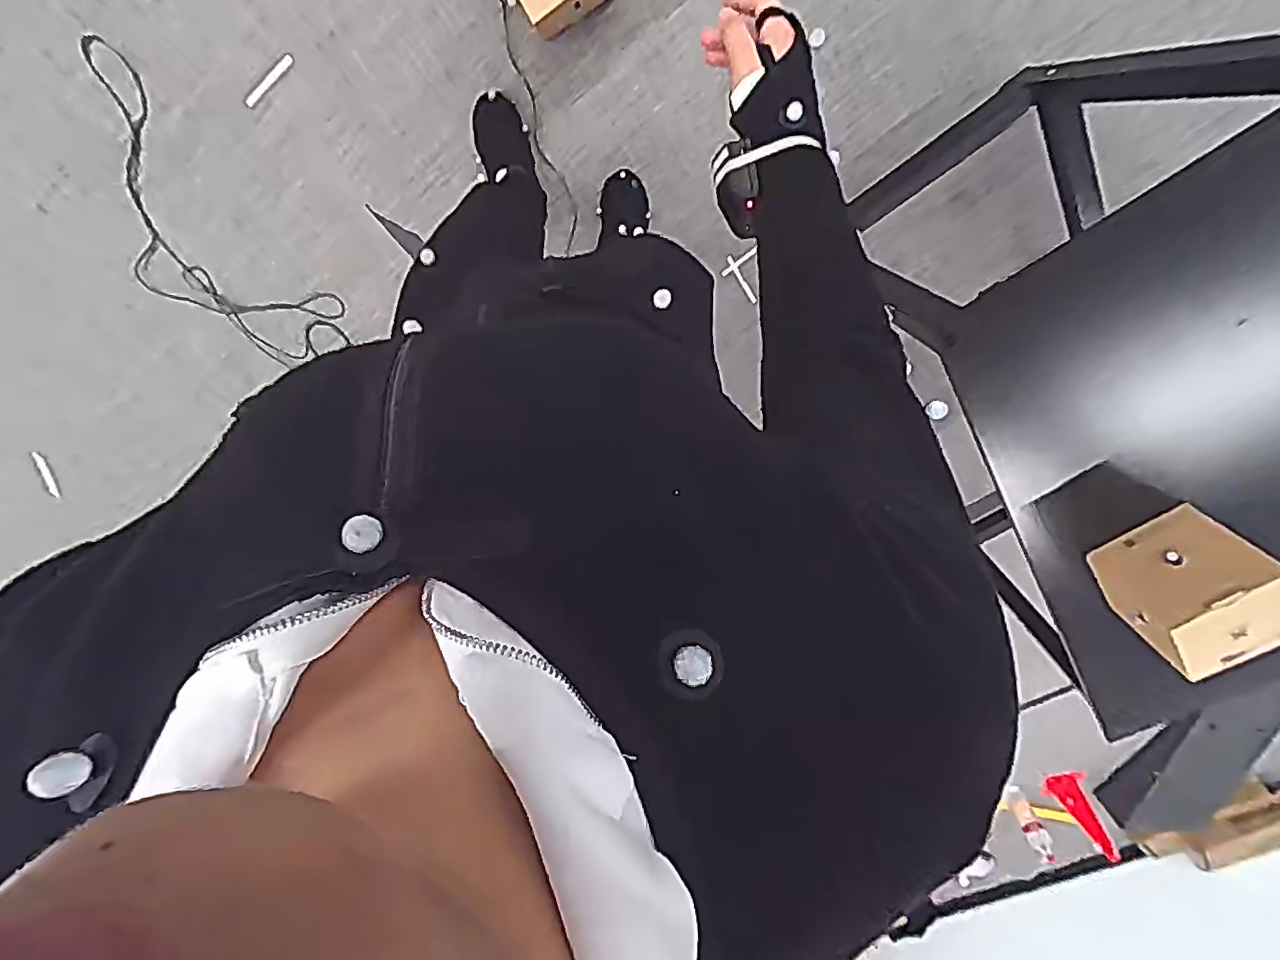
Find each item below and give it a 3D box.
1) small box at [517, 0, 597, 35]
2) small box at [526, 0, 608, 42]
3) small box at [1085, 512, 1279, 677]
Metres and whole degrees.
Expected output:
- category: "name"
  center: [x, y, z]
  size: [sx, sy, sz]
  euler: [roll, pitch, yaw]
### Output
- category: "small box"
  center: [-0.140, -0.828, 0.831]
  size: [0.168, 0.176, 0.179]
  euler: [-28, 120, 12]
- category: "small box"
  center: [-0.151, -0.927, 0.963]
  size: [0.179, 0.176, 0.168]
  euler: [-24, 121, 12]
- category: "small box"
  center: [0.882, 0.177, 0.880]
  size: [0.168, 0.176, 0.179]
  euler: [-37, 117, 18]
